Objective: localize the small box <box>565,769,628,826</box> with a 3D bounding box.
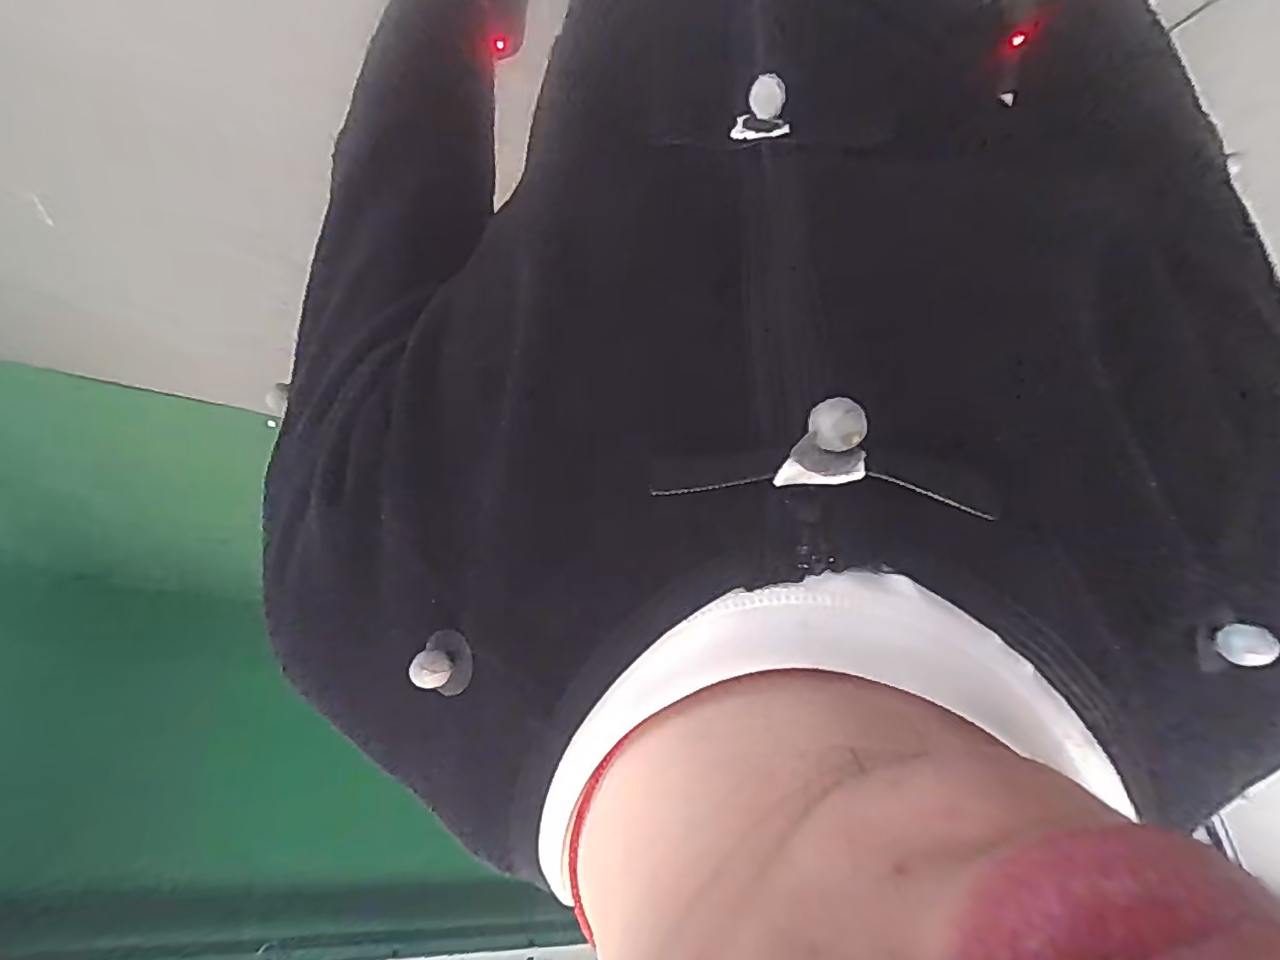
[{"bbox_3d":[-0.153,1.133,1.933,0.179,0.176,0.168,15,145,-22],"label":"small box"}]
